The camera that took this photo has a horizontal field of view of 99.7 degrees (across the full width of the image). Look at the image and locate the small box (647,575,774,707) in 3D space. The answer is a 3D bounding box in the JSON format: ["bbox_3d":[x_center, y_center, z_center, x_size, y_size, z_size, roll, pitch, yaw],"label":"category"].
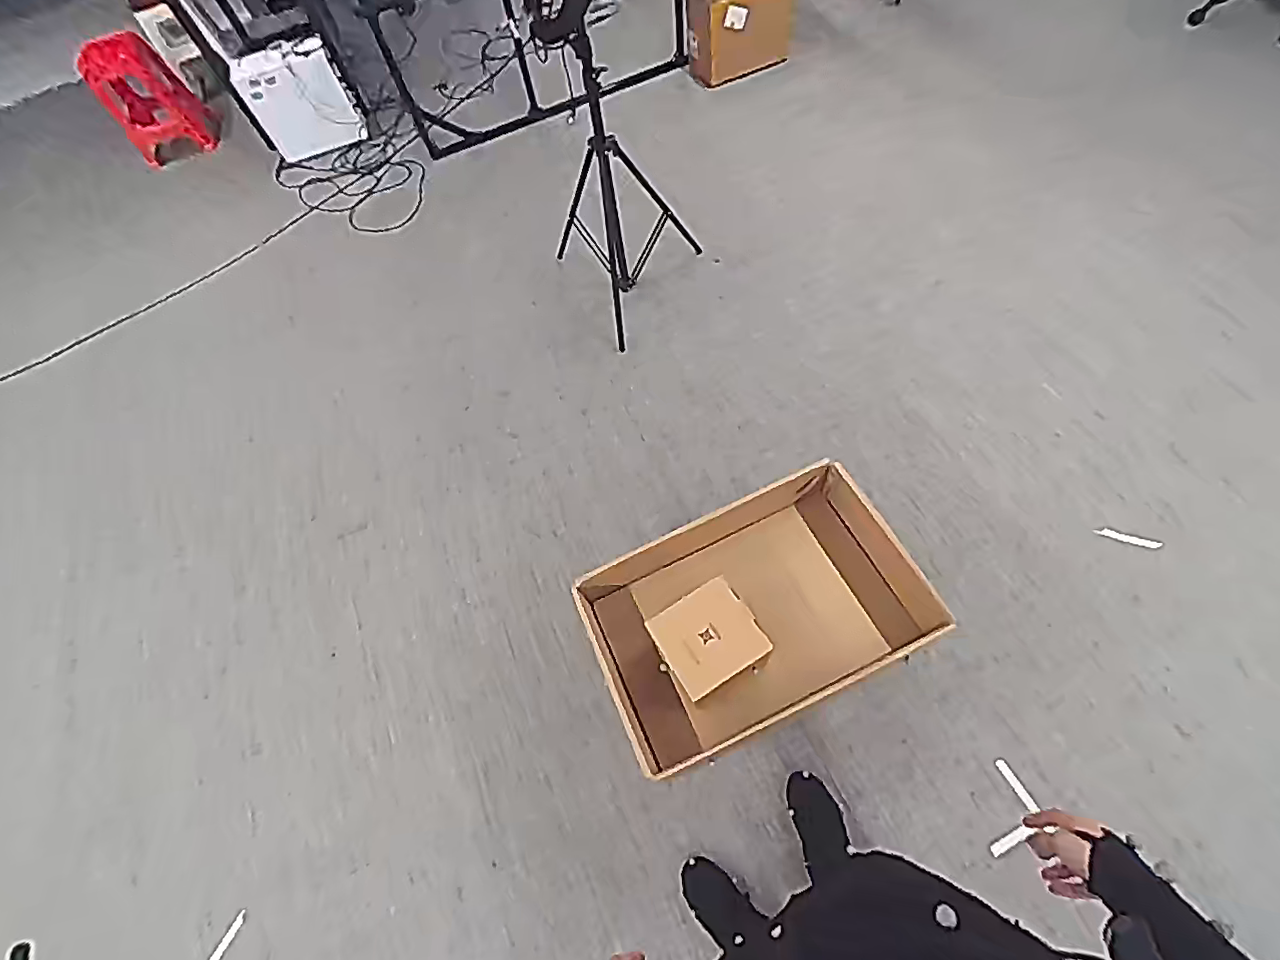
[{"bbox_3d":[0.133,0.317,1.050,0.179,0.176,0.168,-31,63,-8],"label":"small box"}]
